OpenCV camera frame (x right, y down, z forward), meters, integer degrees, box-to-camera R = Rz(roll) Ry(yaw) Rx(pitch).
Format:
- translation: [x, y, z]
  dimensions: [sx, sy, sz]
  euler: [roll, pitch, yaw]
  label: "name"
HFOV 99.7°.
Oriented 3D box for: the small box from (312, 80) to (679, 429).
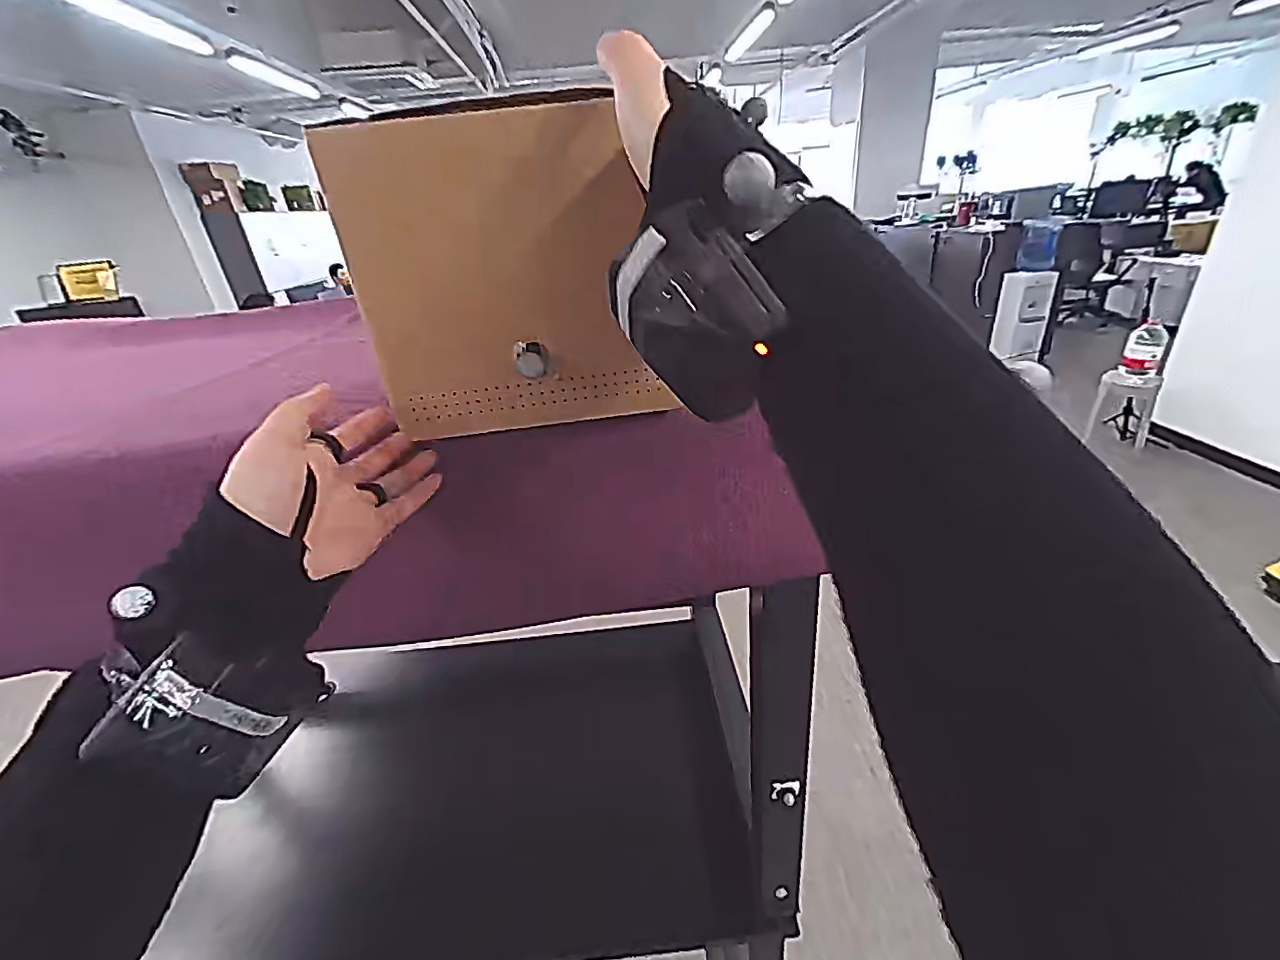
- translation: [-0.070, -0.145, 0.364]
  dimensions: [0.179, 0.176, 0.168]
  euler: [-7, 26, -3]
  label: "small box"
